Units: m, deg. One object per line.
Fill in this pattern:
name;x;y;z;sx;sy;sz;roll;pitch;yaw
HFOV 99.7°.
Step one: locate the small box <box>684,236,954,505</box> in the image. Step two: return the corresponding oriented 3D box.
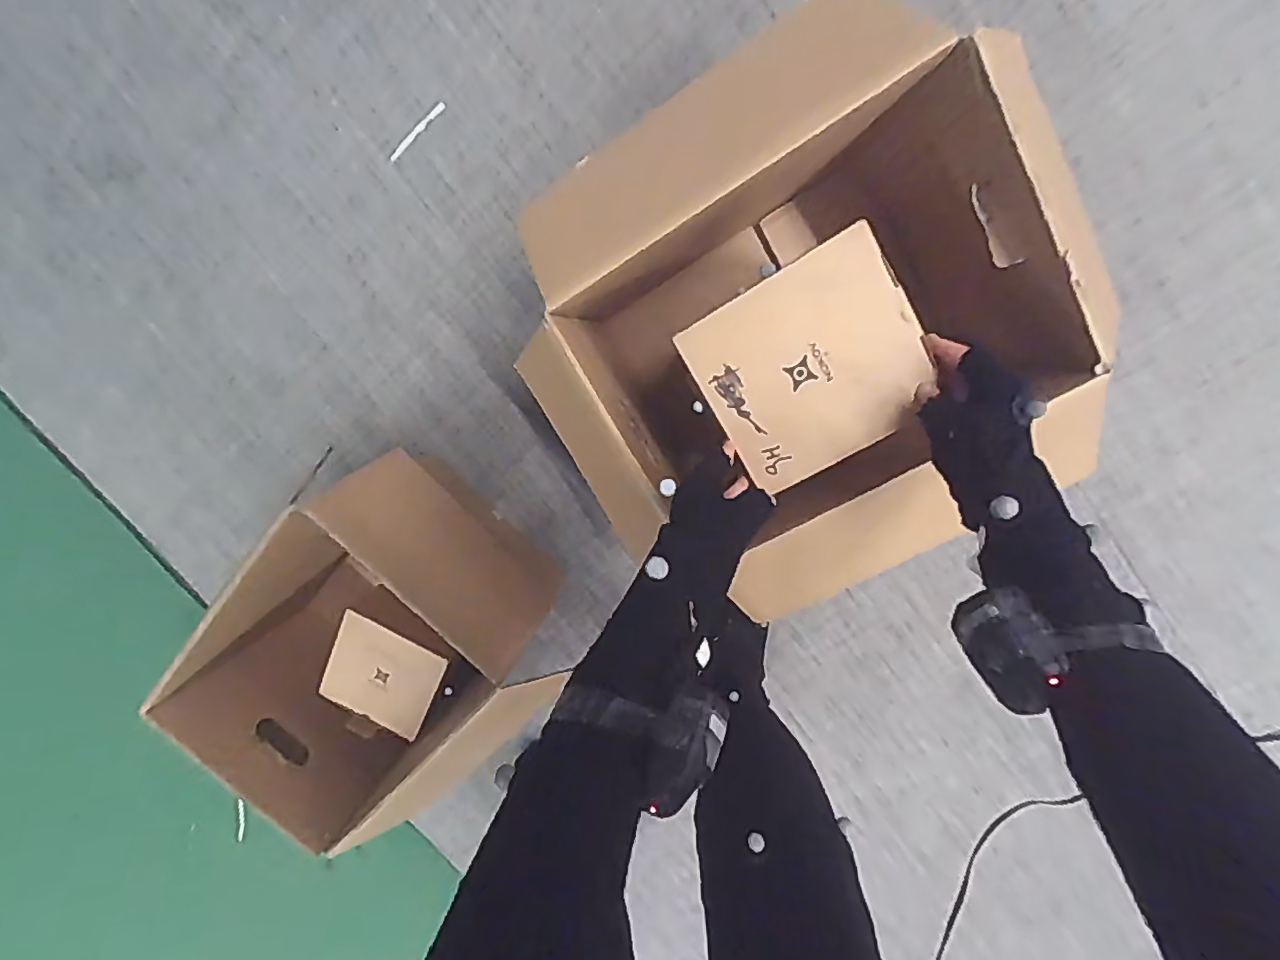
small box;0.156;-0.104;0.531;0.179;0.176;0.168;-30;98;12
